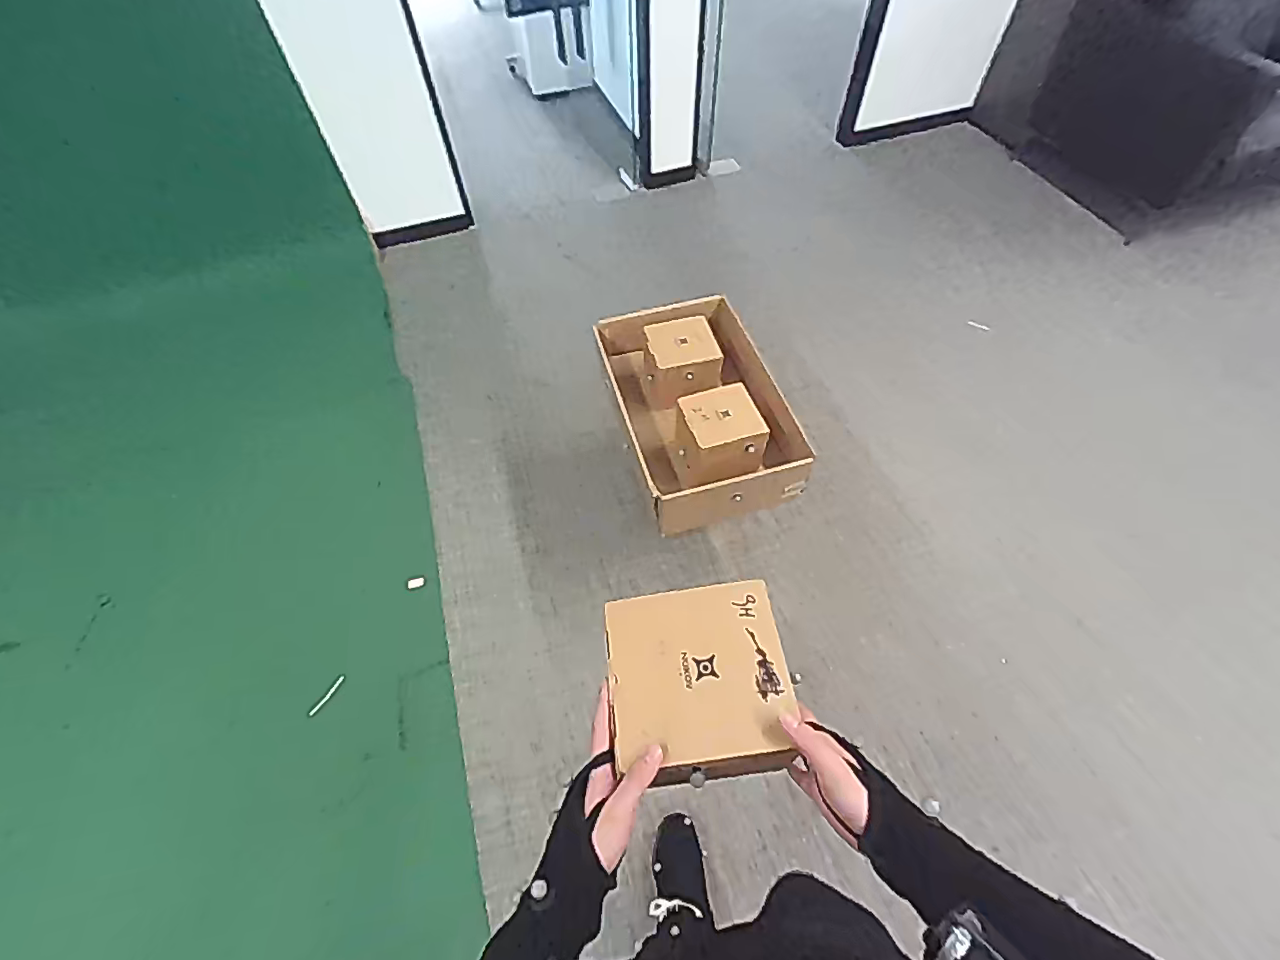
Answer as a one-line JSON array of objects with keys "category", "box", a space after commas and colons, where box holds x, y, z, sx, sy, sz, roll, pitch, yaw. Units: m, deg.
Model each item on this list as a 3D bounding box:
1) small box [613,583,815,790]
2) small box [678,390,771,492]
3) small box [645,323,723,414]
[{"category": "small box", "box": [0.073, 0.232, 0.592, 0.179, 0.176, 0.168, -8, 55, 1]}, {"category": "small box", "box": [0.202, -0.094, 1.349, 0.179, 0.176, 0.168, -15, 57, -9]}, {"category": "small box", "box": [0.117, -0.303, 1.494, 0.179, 0.176, 0.168, -11, 58, -8]}]
